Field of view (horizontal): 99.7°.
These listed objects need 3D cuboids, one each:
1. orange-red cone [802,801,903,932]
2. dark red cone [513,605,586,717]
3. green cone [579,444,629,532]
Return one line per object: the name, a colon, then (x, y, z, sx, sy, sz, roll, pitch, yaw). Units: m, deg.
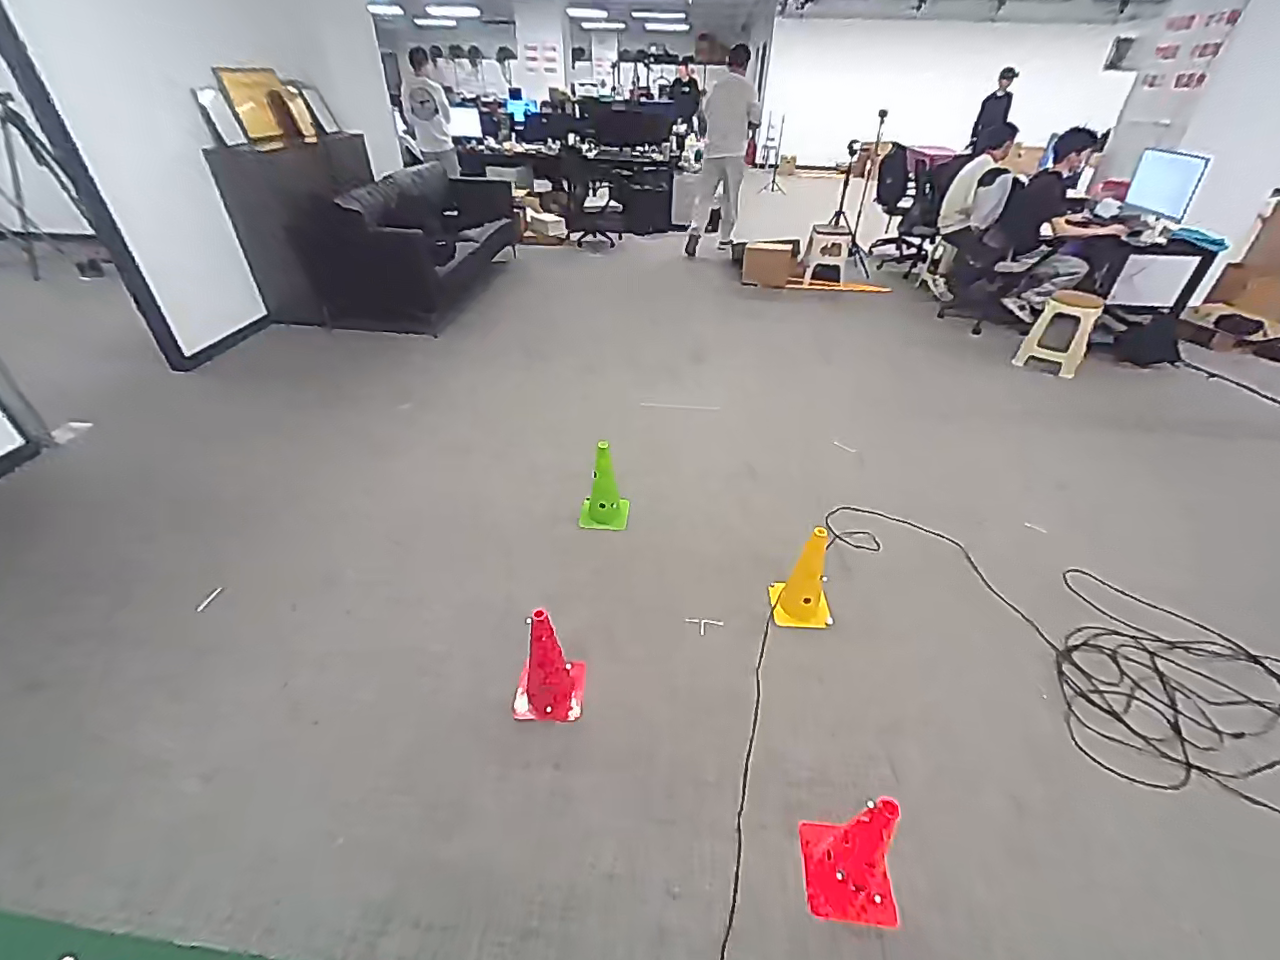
orange-red cone: (0.497, 0.797, 1.179, 0.198, 0.360, 0.199, 5, 36, 4)
dark red cone: (-0.264, 0.493, 1.533, 0.202, 0.394, 0.201, 1, 38, 0)
green cone: (-0.146, 0.017, 2.224, 0.202, 0.368, 0.200, 4, 37, 2)
